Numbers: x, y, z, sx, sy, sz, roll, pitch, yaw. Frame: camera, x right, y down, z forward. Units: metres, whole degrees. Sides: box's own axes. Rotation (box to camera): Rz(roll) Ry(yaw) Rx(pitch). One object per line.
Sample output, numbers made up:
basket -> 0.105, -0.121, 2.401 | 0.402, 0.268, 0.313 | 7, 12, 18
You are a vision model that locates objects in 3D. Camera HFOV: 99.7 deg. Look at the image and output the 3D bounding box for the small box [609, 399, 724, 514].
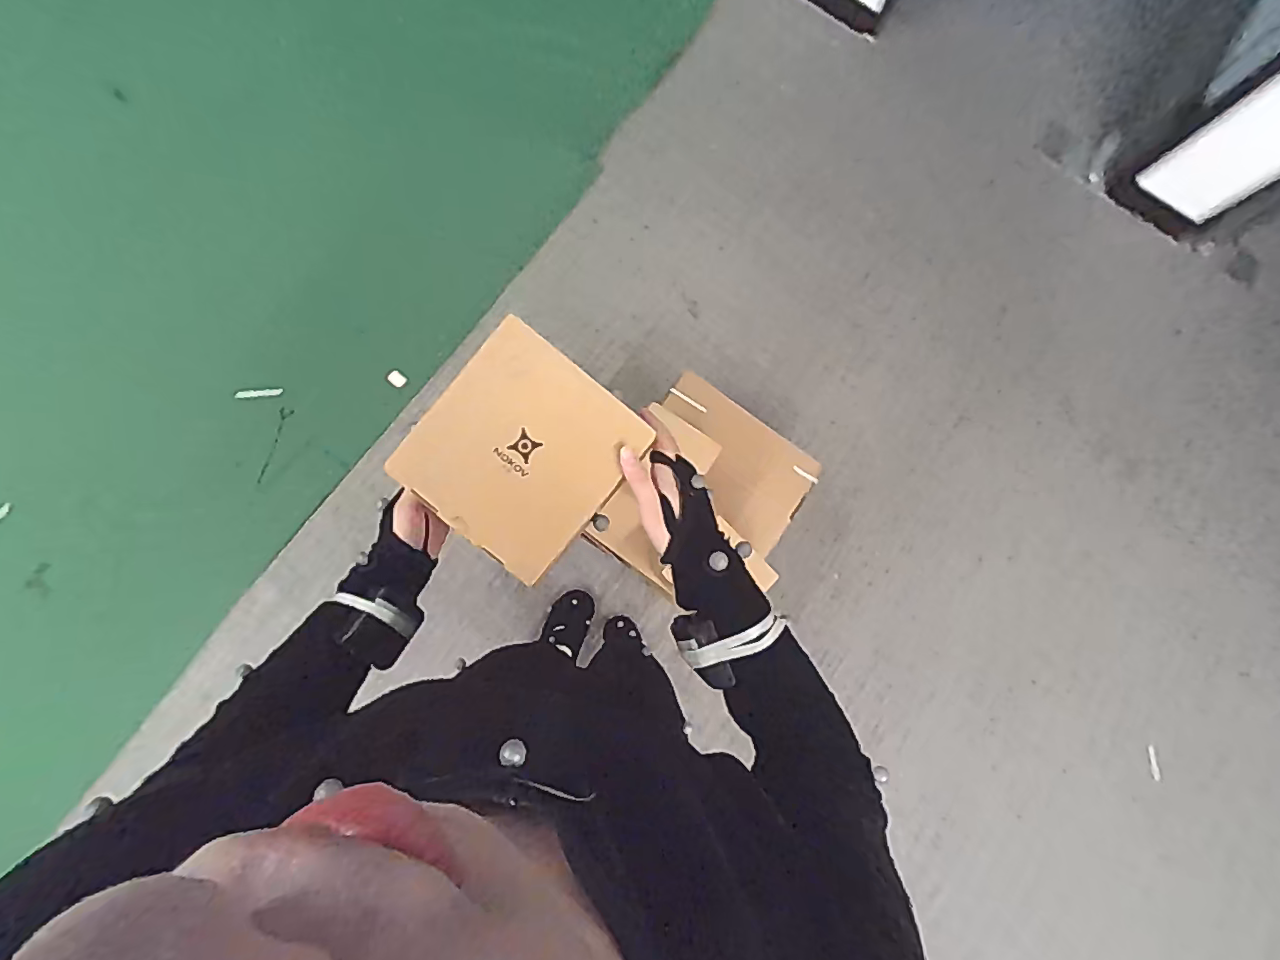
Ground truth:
small box -> 0.049, -0.040, 1.161 | 0.179, 0.176, 0.168 | 35, 79, 2
